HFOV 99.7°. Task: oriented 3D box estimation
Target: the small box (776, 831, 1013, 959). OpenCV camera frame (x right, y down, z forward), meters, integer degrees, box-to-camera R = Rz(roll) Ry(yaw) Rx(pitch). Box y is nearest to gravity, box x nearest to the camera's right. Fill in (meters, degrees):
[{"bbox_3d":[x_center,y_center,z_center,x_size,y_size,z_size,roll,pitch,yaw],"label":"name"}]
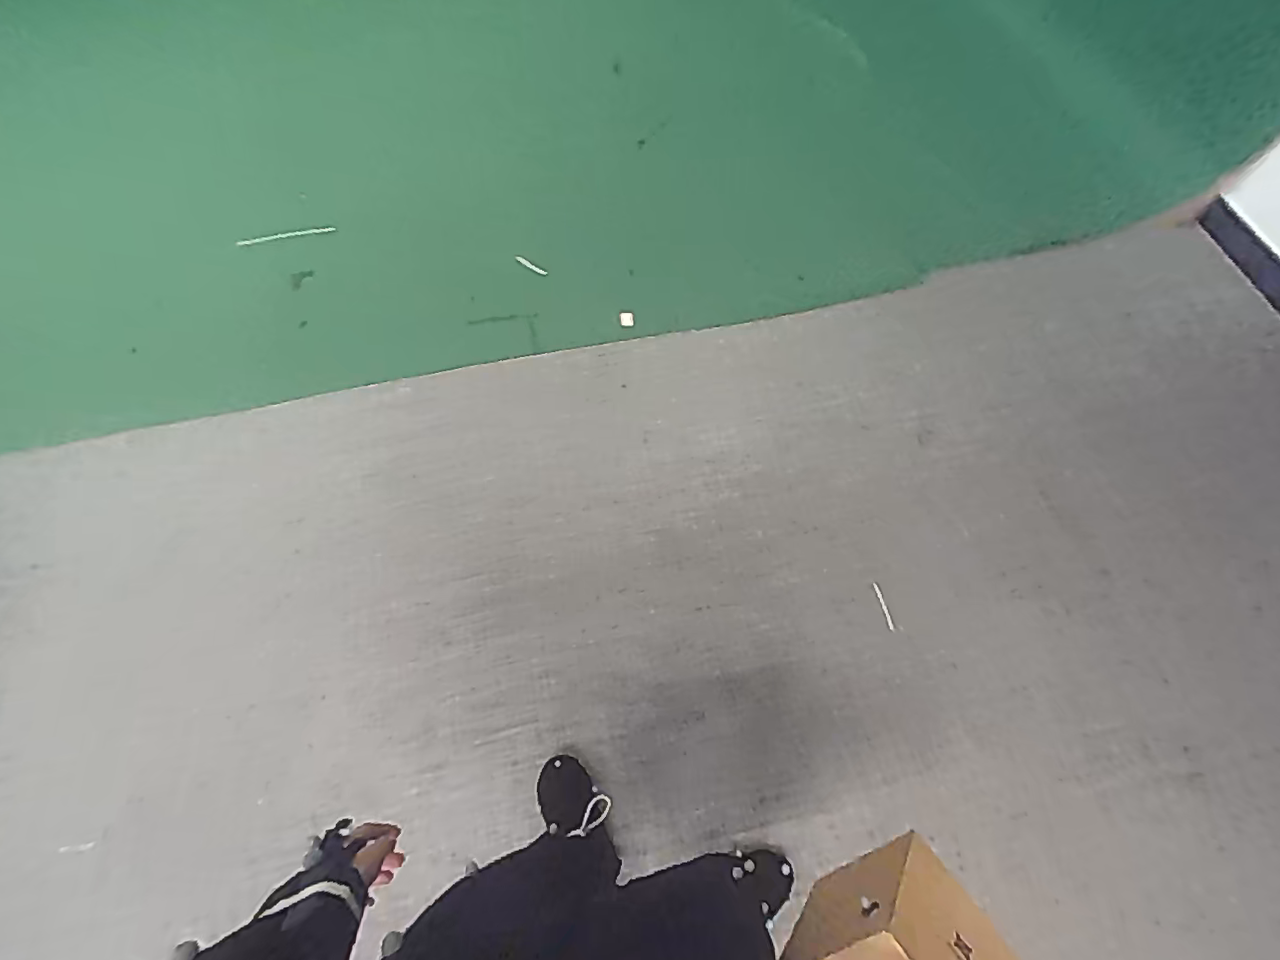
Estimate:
[{"bbox_3d":[0.272,0.530,0.577,0.176,0.179,0.168,-48,67,25],"label":"small box"}]
